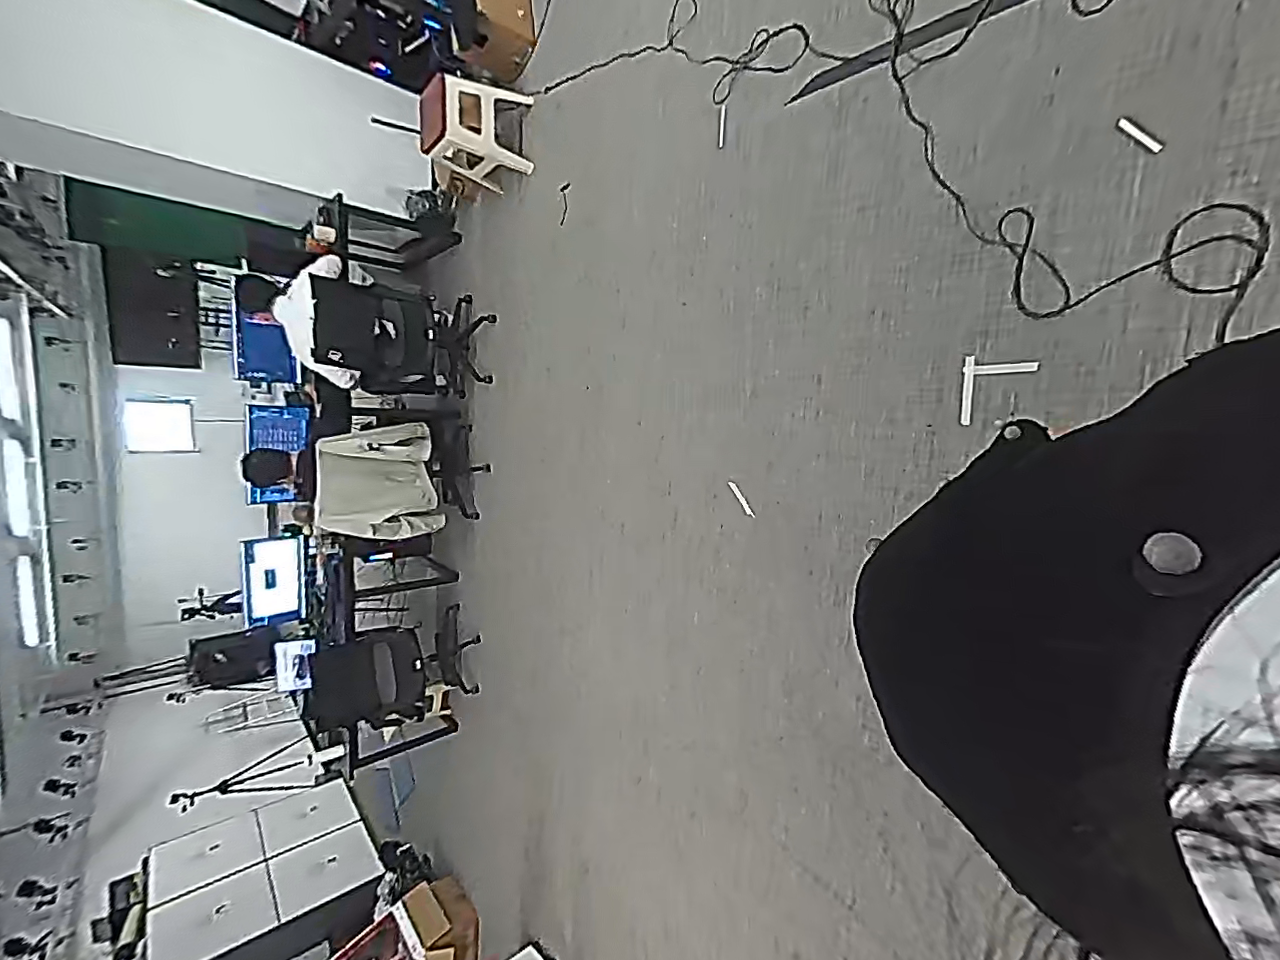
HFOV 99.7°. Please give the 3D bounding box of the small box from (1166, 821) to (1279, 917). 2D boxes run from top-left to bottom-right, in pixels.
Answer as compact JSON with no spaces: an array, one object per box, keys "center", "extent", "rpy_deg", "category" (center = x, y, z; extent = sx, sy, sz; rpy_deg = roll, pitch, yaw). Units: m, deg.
[{"center":[0.750,0.567,0.659],"extent":[0.168,0.176,0.179],"rpy_deg":[14,101,47],"category":"small box"}]
